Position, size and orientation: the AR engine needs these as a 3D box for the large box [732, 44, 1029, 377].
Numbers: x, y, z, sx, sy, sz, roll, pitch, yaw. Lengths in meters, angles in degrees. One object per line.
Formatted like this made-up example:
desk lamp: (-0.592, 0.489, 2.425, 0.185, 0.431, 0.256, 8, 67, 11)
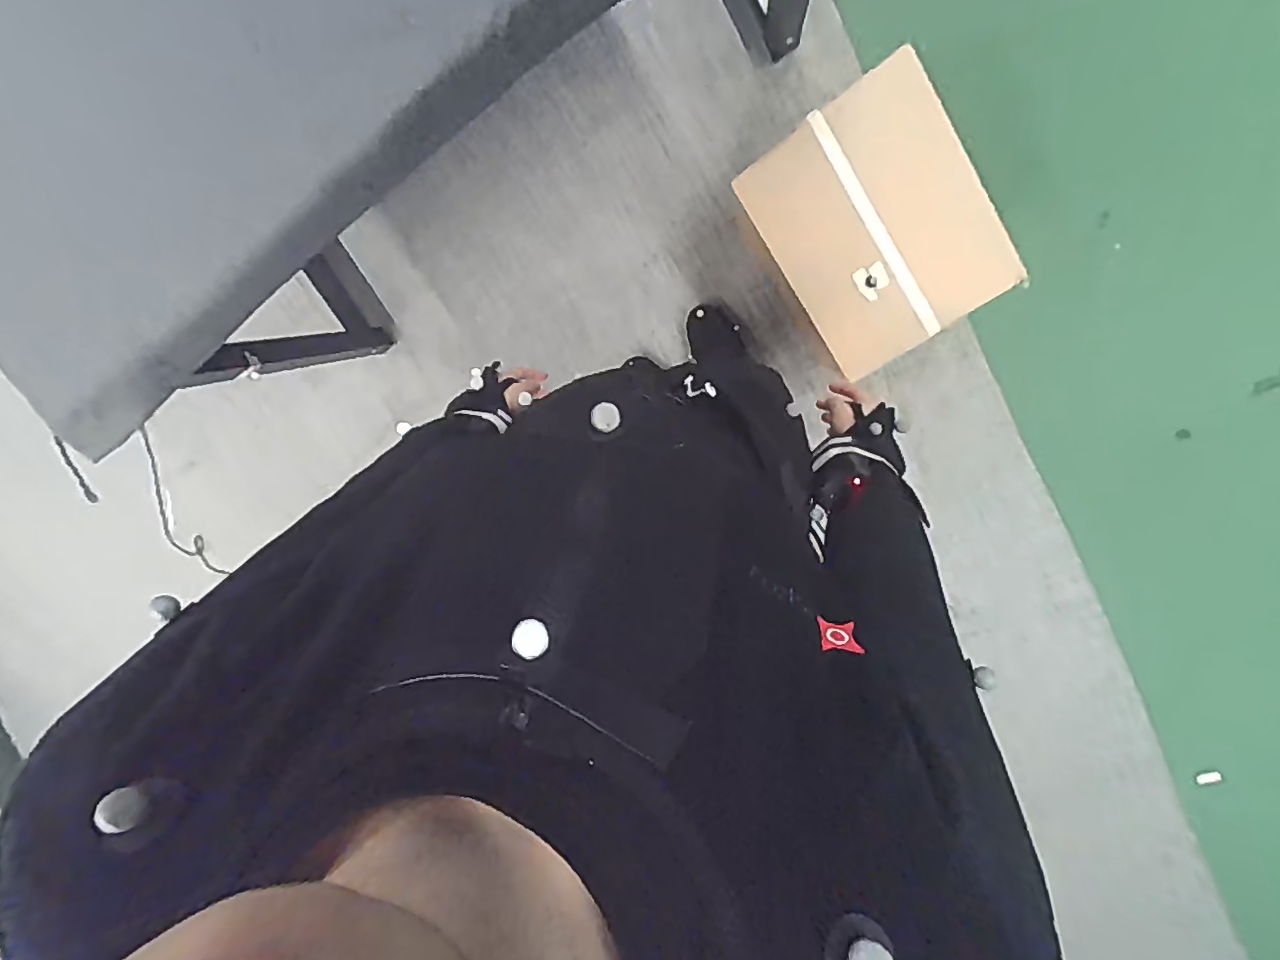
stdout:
large box: (0.409, -0.462, 1.015, 0.320, 0.320, 0.408, -32, 102, 18)
